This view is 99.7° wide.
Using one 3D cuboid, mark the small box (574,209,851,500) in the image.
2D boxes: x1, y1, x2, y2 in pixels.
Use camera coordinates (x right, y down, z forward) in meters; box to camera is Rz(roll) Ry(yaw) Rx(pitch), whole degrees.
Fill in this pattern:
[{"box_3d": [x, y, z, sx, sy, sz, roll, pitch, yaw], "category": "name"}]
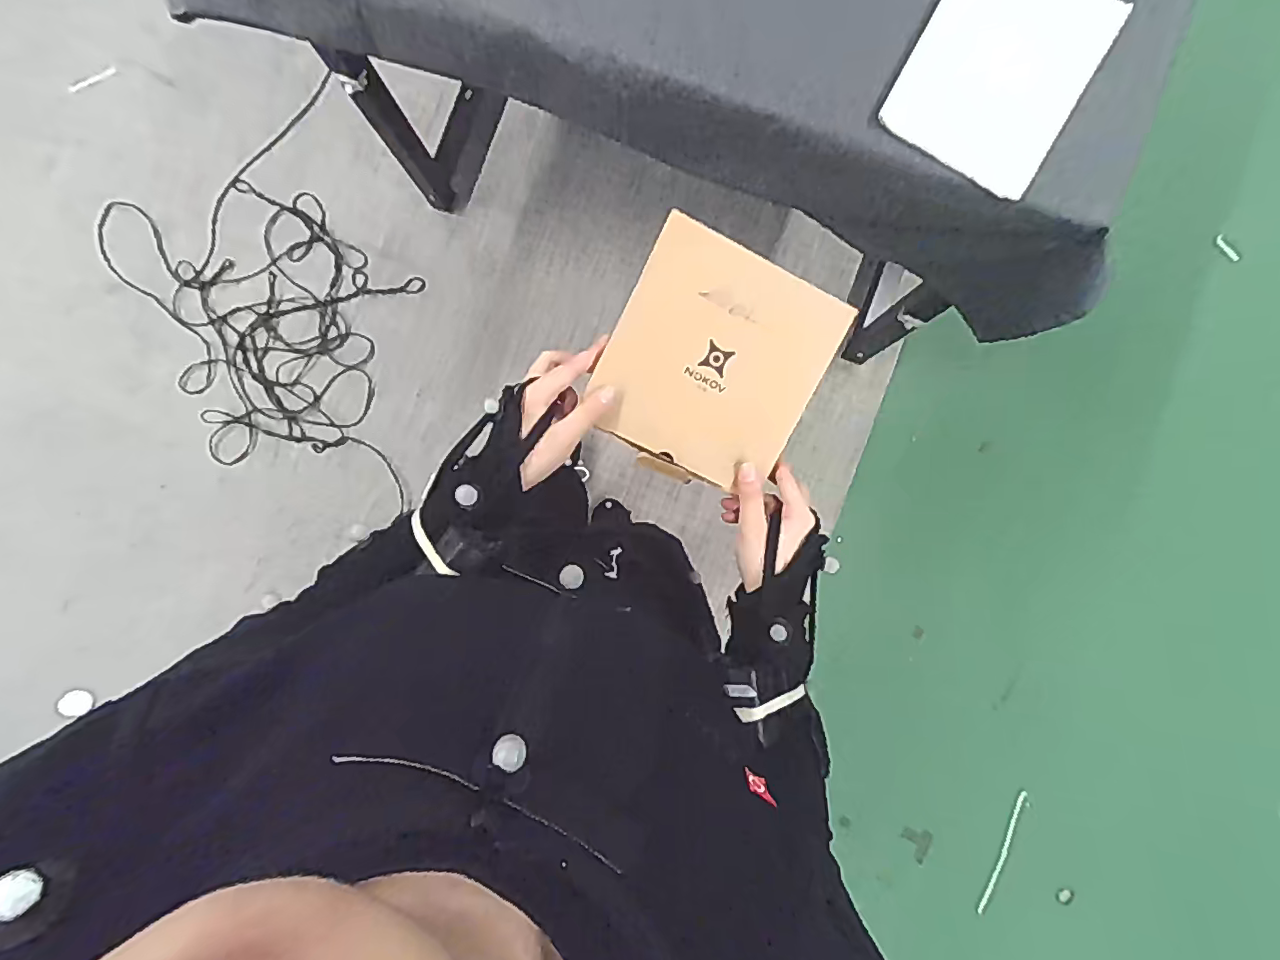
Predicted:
[{"box_3d": [0.054, -0.104, 0.502, 0.168, 0.176, 0.179, 26, 96, -6], "category": "small box"}]
